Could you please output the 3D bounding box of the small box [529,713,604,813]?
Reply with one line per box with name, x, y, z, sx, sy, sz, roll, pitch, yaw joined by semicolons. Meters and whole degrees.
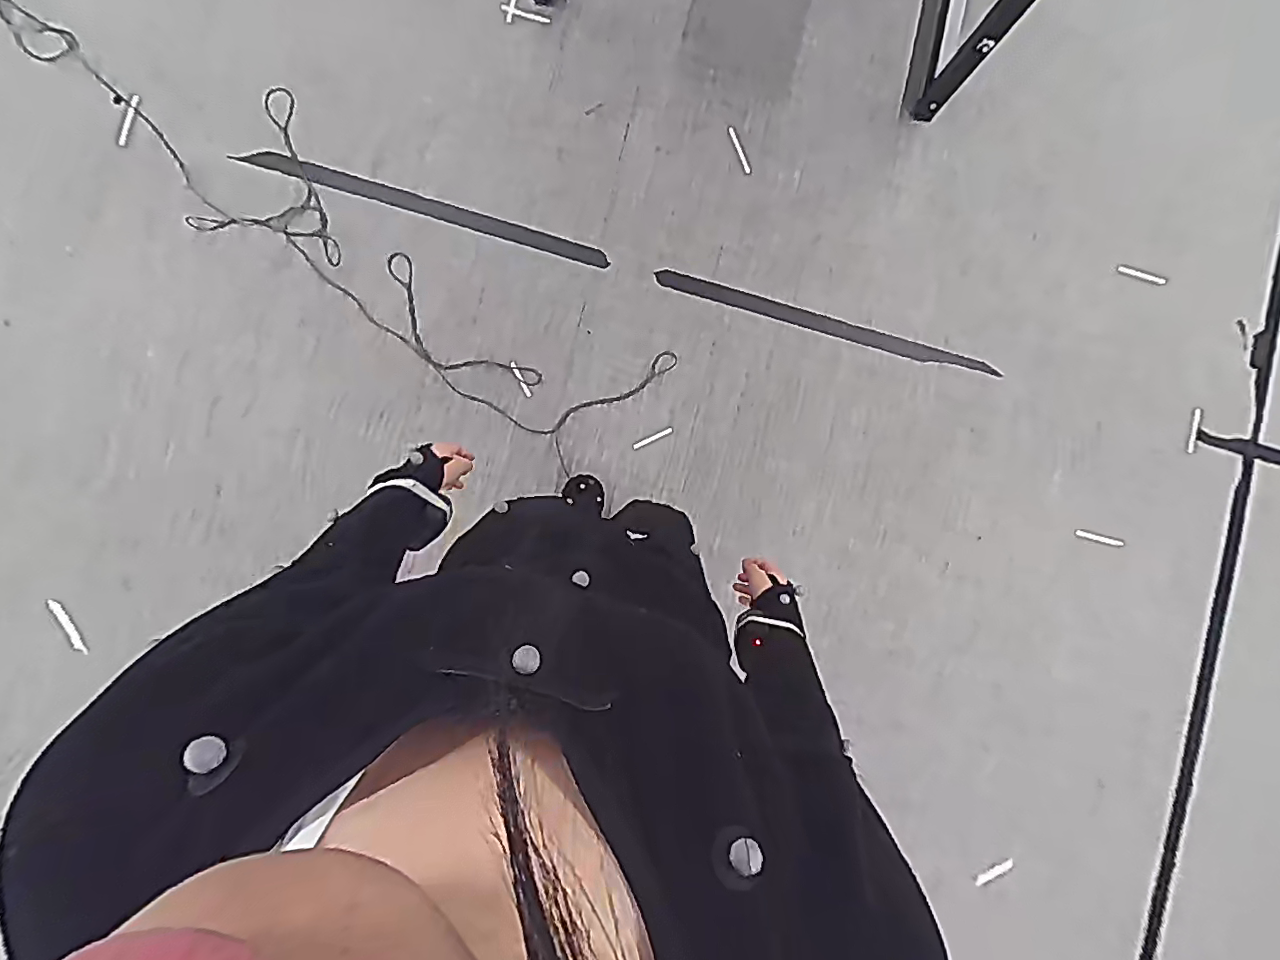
small box;-0.183;0.709;1.371;0.168;0.176;0.179;5;88;-5
